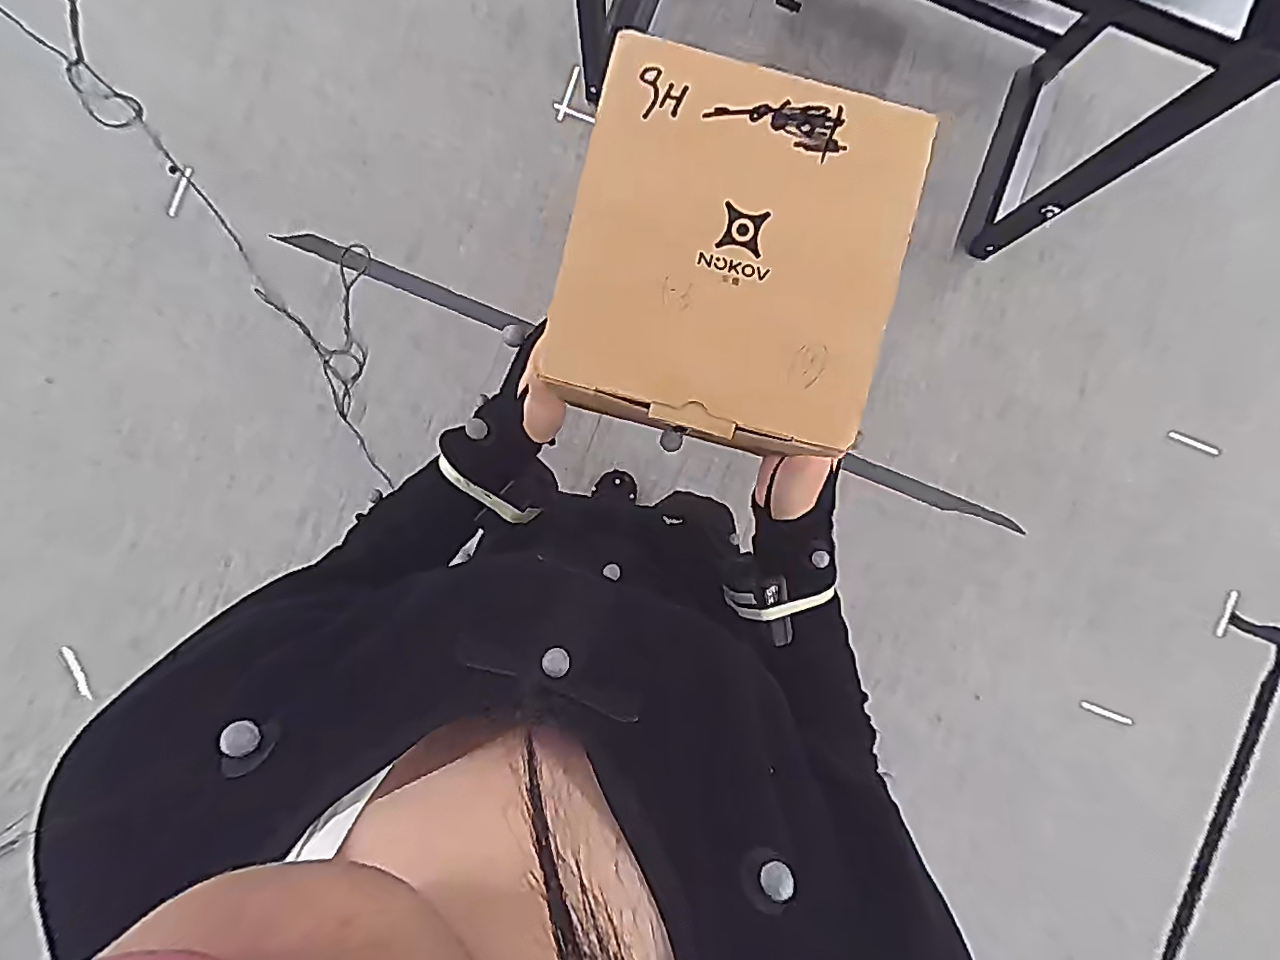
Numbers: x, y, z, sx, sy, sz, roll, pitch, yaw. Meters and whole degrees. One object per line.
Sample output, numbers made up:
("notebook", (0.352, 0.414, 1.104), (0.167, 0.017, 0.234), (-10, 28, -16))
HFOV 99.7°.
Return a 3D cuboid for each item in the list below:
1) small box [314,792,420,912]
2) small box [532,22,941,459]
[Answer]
("small box", (-0.685, 0.939, 1.379), (0.168, 0.176, 0.179), (15, 90, -2))
("small box", (0.045, -0.119, 0.343), (0.168, 0.176, 0.179), (15, 93, -2))
